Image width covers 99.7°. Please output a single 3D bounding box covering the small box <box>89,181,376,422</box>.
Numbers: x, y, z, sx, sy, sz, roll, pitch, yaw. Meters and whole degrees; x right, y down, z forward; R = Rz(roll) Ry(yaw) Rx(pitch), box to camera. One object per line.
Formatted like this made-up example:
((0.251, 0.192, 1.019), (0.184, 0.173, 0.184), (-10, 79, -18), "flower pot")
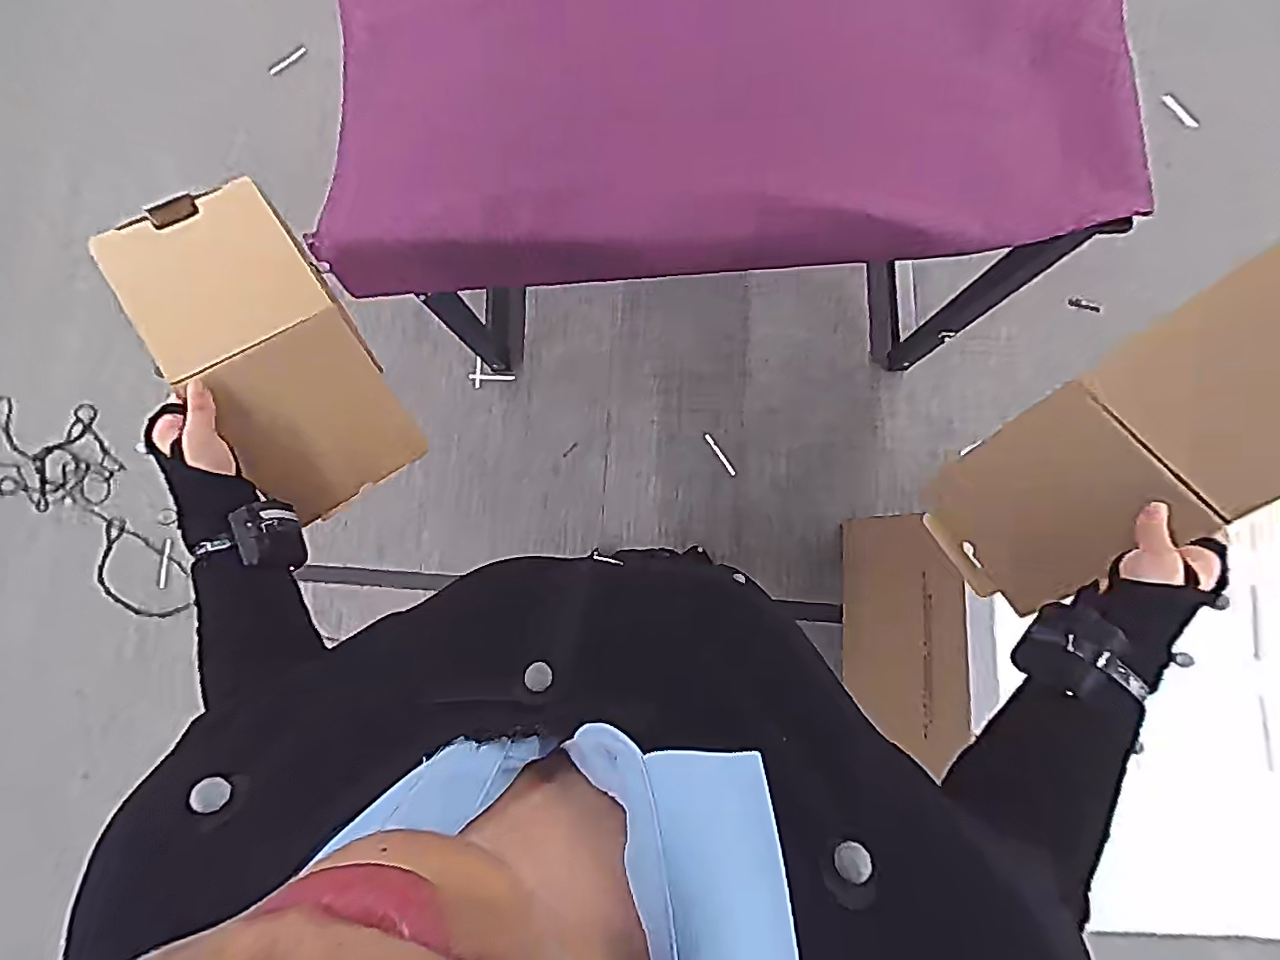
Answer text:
((-0.433, -0.183, 0.611), (0.168, 0.176, 0.179), (-32, 84, -15), "small box")
